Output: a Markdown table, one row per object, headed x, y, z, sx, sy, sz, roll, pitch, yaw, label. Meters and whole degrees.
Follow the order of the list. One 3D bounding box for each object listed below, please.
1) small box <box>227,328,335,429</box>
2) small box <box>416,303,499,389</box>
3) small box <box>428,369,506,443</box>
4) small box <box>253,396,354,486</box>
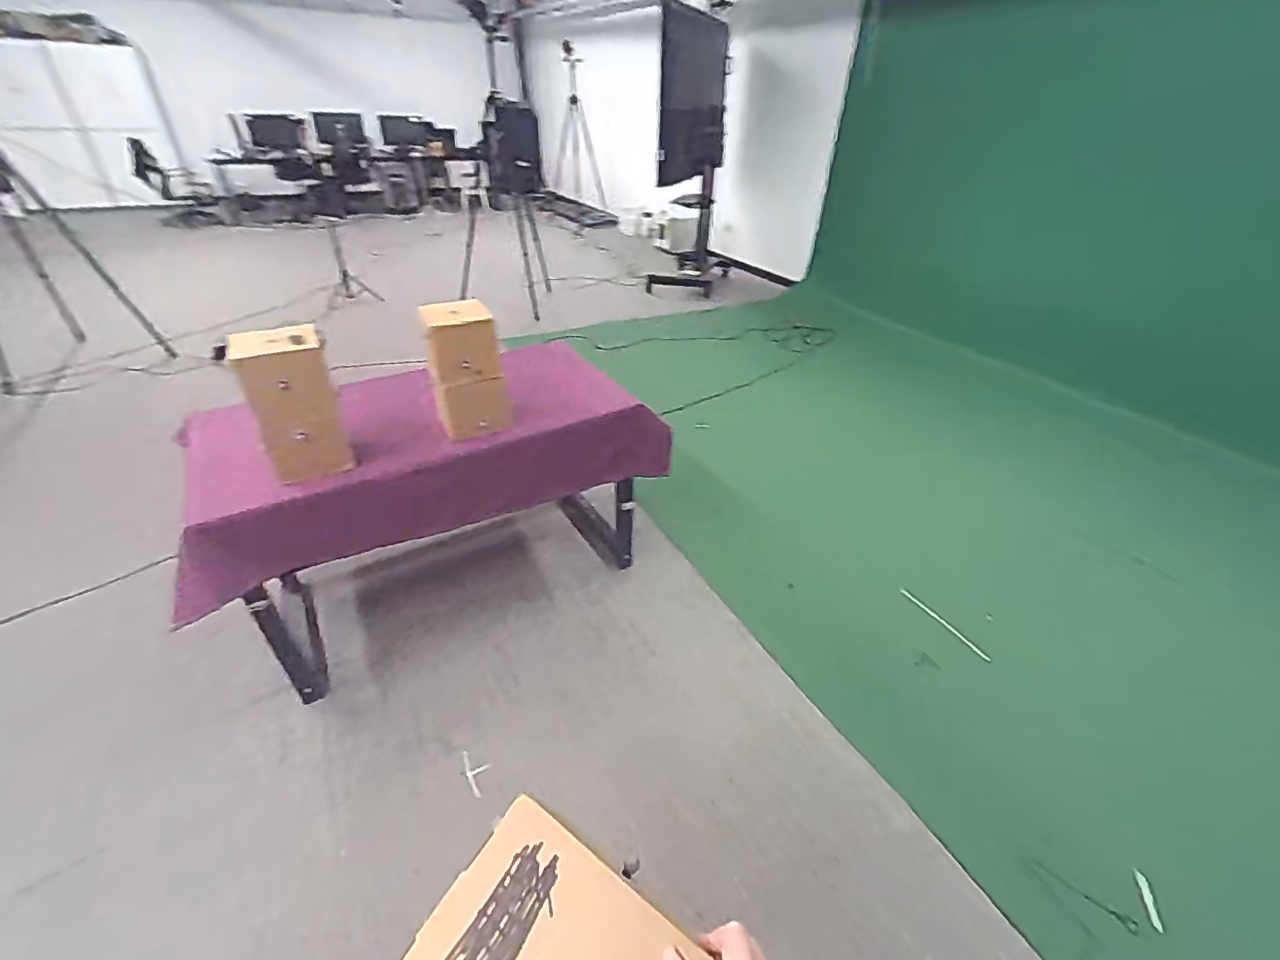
| x | y | z | sx | sy | sz | roll | pitch | yaw | label |
| --- | --- | --- | --- | --- | --- | --- | --- | --- | --- |
| -0.840 | -0.242 | 1.279 | 0.179 | 0.176 | 0.168 | -18 | 40 | -24 | small box |
| -0.496 | -0.366 | 1.474 | 0.168 | 0.176 | 0.179 | -17 | 40 | -24 | small box |
| -0.494 | -0.227 | 1.561 | 0.179 | 0.176 | 0.168 | -17 | 39 | -26 | small box |
| -0.848 | -0.105 | 1.370 | 0.179 | 0.176 | 0.168 | -16 | 39 | -25 | small box |
